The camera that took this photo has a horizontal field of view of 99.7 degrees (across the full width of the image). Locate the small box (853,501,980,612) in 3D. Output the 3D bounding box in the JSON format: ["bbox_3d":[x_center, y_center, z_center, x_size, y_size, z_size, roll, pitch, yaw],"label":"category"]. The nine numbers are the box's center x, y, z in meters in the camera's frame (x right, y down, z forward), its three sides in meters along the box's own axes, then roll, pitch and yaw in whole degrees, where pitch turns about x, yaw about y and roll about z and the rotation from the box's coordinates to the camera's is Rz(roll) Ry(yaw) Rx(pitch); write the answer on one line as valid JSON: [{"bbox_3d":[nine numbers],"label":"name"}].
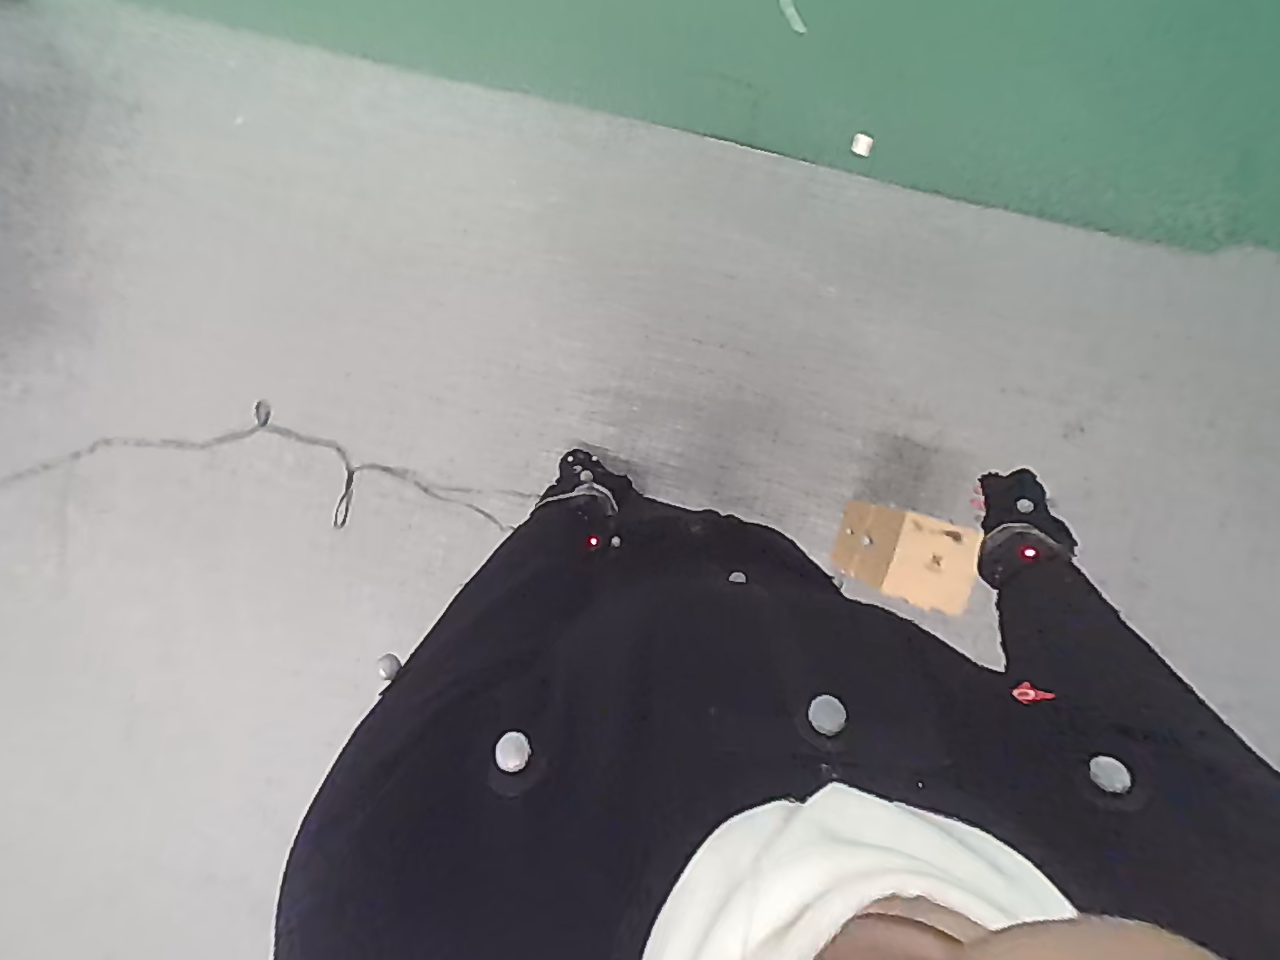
[{"bbox_3d":[0.583,0.156,1.168,0.168,0.176,0.179,19,94,2],"label":"small box"}]

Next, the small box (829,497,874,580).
[{"bbox_3d":[0.584,0.150,1.332,0.168,0.176,0.179,16,95,2],"label":"small box"}]
